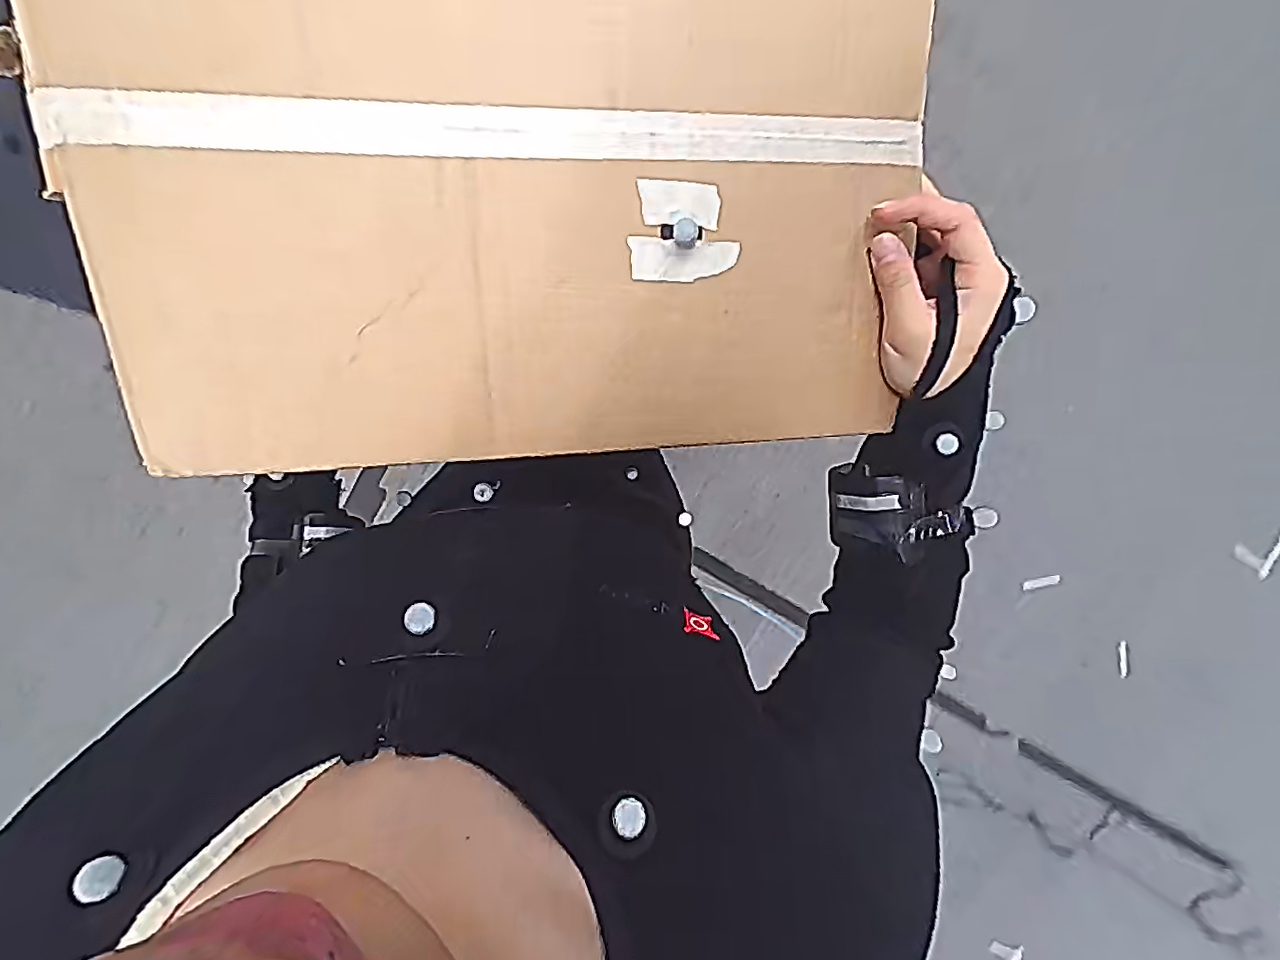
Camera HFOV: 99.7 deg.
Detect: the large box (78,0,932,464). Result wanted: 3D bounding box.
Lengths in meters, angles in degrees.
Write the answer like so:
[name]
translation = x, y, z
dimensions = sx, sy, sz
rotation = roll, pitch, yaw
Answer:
[large box]
translation = -0.069, -0.206, 0.411
dimensions = 0.408, 0.320, 0.320
rotation = -4, 105, -11
